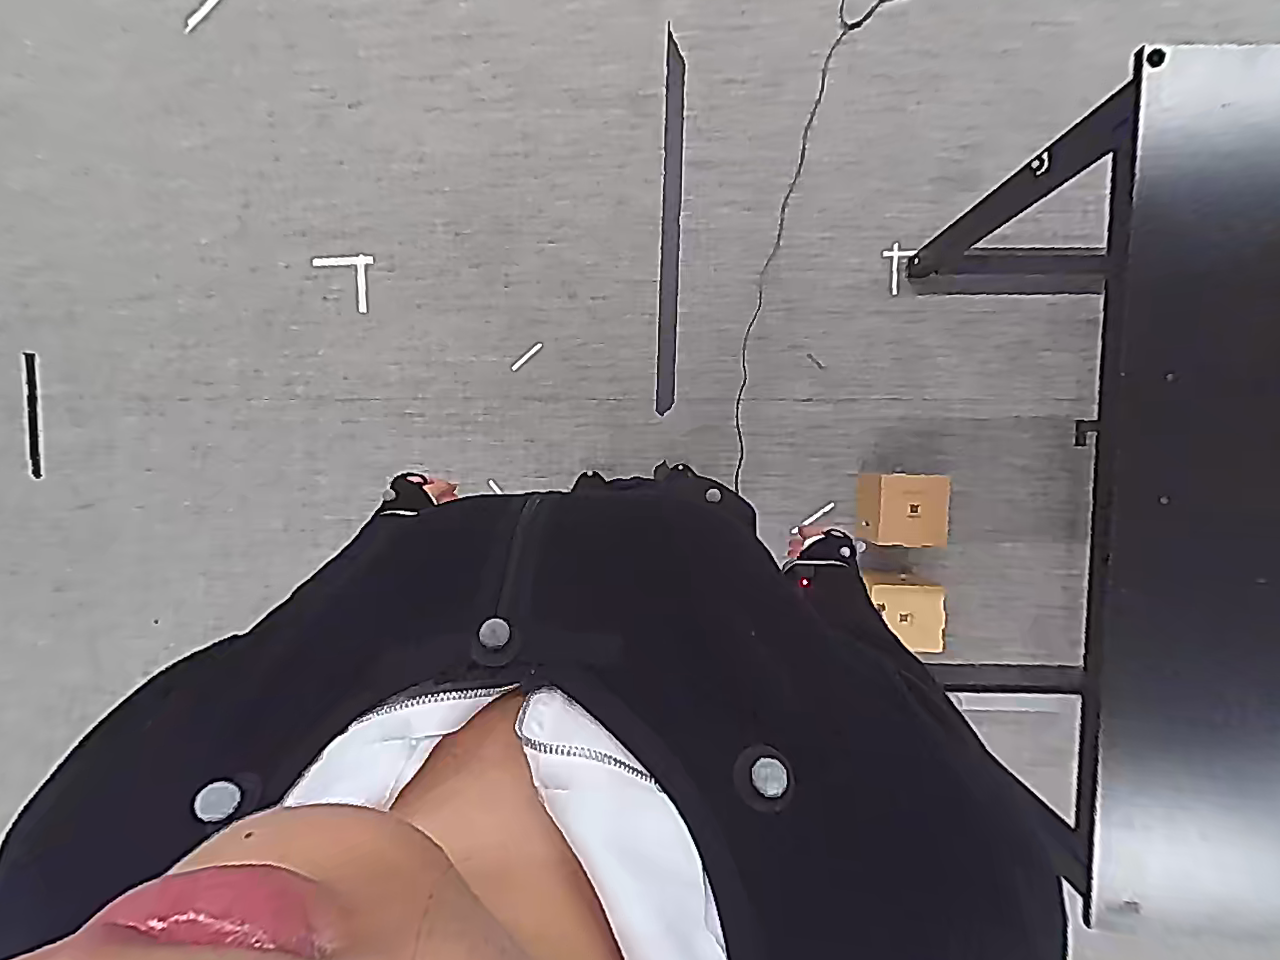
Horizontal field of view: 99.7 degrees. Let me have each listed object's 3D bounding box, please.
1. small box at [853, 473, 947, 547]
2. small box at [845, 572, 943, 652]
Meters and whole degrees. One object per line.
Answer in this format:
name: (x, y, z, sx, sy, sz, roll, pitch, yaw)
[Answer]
small box: (0.660, 0.071, 1.389, 0.168, 0.176, 0.179, 1, 91, 2)
small box: (0.650, 0.334, 1.397, 0.179, 0.176, 0.168, 0, 91, 2)
